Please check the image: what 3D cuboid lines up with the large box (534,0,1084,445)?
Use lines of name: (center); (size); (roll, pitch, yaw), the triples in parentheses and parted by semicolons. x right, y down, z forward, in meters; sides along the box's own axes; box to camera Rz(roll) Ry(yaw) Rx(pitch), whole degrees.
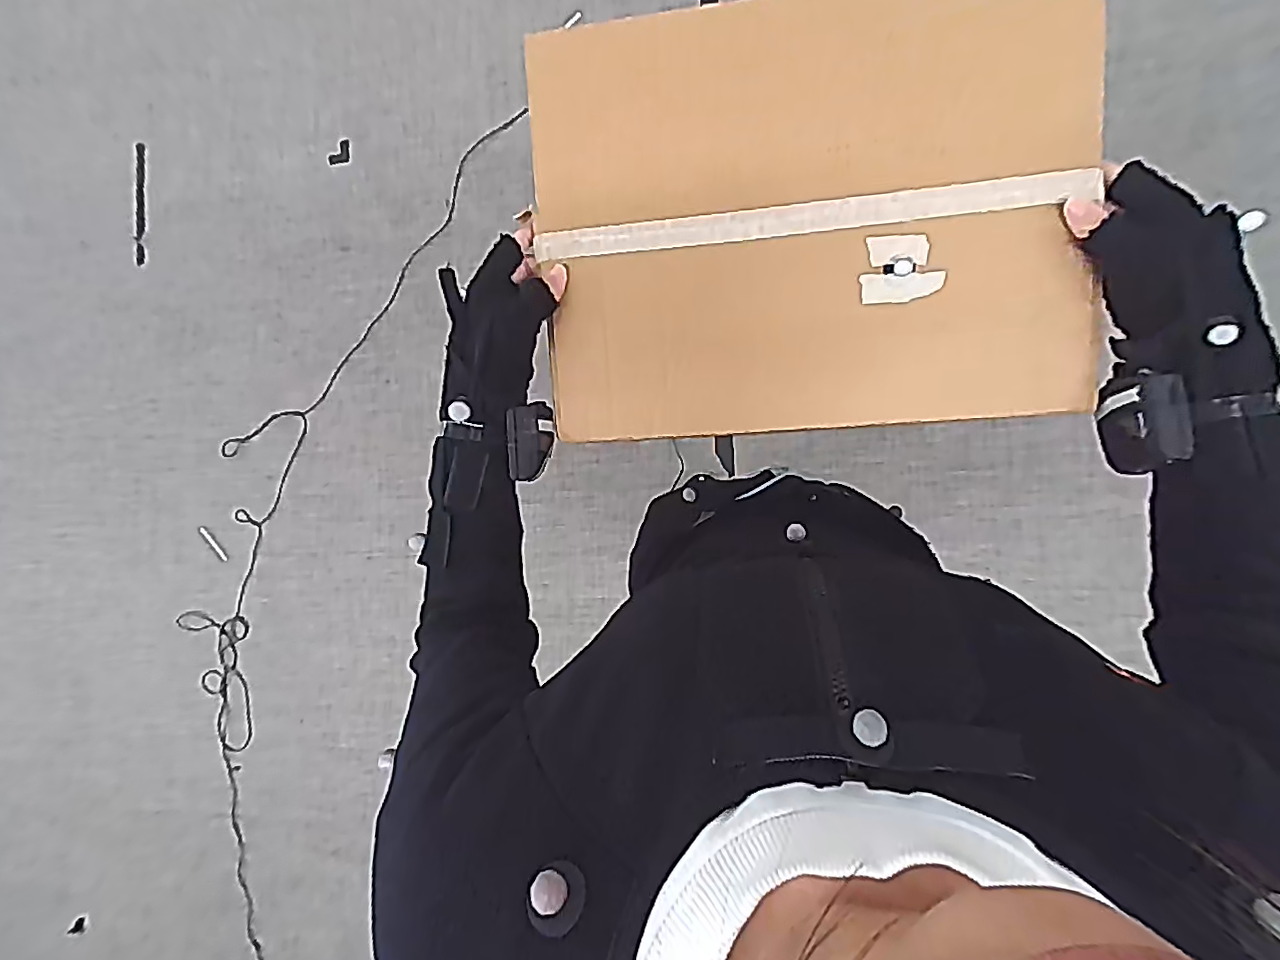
large box: (0.139, -0.212, 0.564); (0.408, 0.320, 0.320); (-4, 96, 7)
